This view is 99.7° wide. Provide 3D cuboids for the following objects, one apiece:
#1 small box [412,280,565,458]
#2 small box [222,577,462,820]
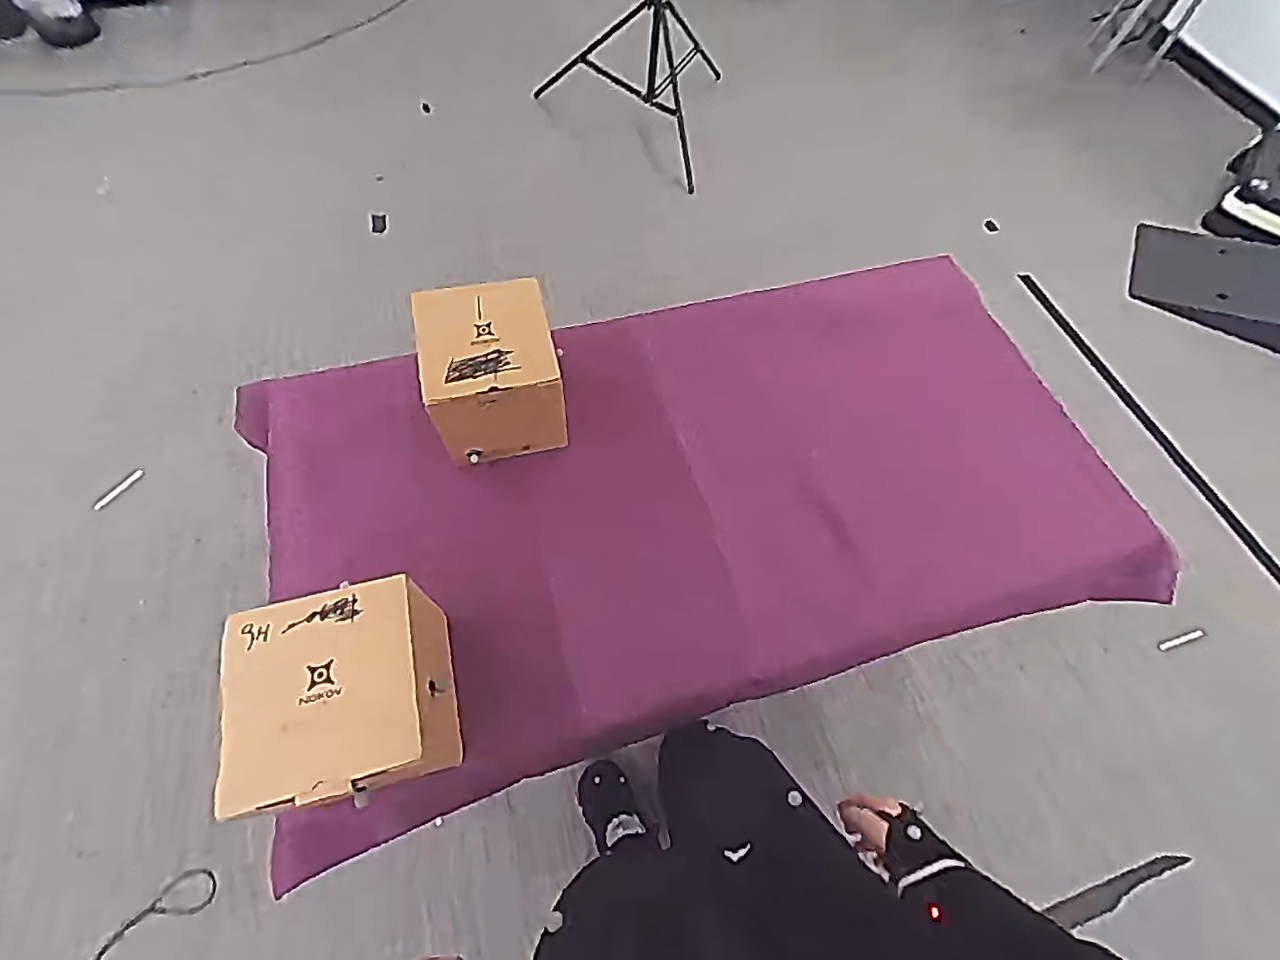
[{"bbox_3d":[-0.204,-0.144,0.756,0.168,0.176,0.179,-12,65,-10],"label":"small box"},{"bbox_3d":[-0.293,0.223,0.564,0.168,0.176,0.179,-13,65,-11],"label":"small box"}]
